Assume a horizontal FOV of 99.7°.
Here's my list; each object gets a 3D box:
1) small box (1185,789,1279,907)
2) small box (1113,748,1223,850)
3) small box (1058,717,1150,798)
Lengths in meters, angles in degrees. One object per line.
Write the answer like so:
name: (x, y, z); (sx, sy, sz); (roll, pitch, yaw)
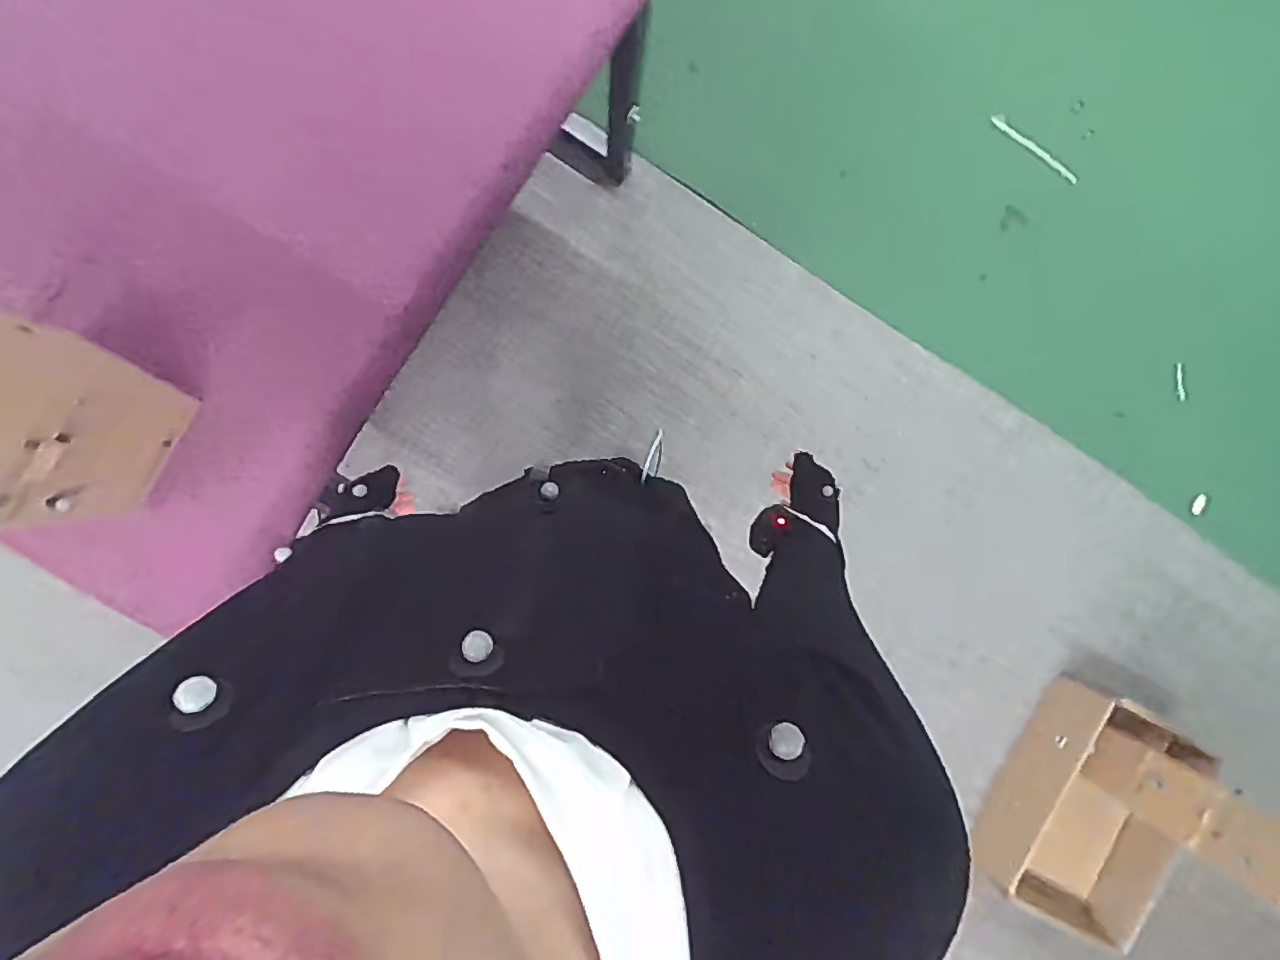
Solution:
small box: (1.383, 0.826, 1.192); (0.179, 0.176, 0.168); (28, 92, -7)
small box: (1.361, 0.813, 1.354); (0.179, 0.176, 0.168); (30, 91, -7)
small box: (1.343, 0.801, 1.515); (0.179, 0.176, 0.168); (31, 90, -7)
